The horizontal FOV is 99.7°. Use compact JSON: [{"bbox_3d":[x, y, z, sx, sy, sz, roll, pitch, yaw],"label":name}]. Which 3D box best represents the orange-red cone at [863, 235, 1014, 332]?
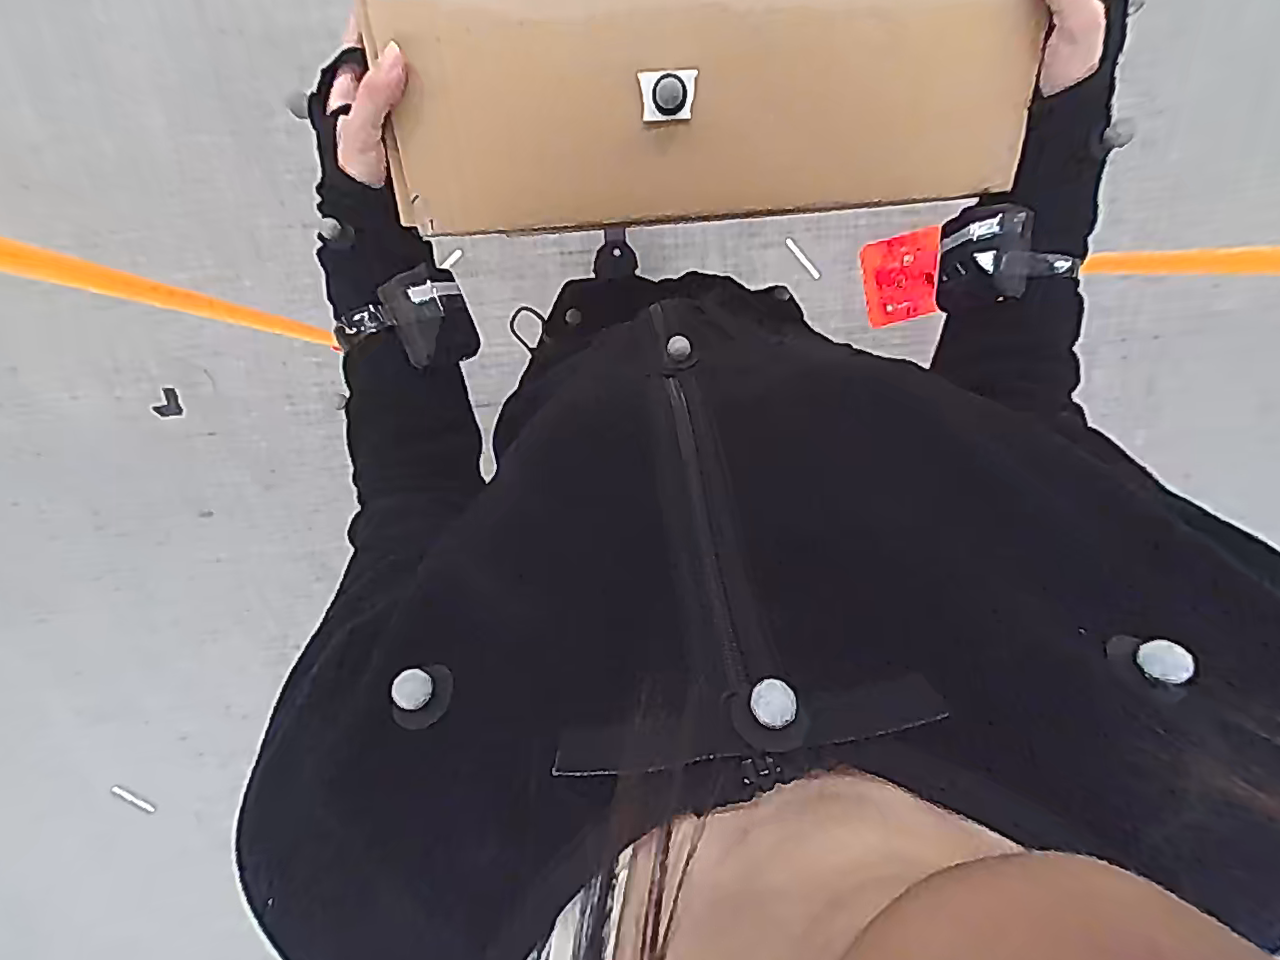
[{"bbox_3d":[0.654,-0.425,1.150,0.199,0.360,0.198,-14,108,0],"label":"orange-red cone"}]
